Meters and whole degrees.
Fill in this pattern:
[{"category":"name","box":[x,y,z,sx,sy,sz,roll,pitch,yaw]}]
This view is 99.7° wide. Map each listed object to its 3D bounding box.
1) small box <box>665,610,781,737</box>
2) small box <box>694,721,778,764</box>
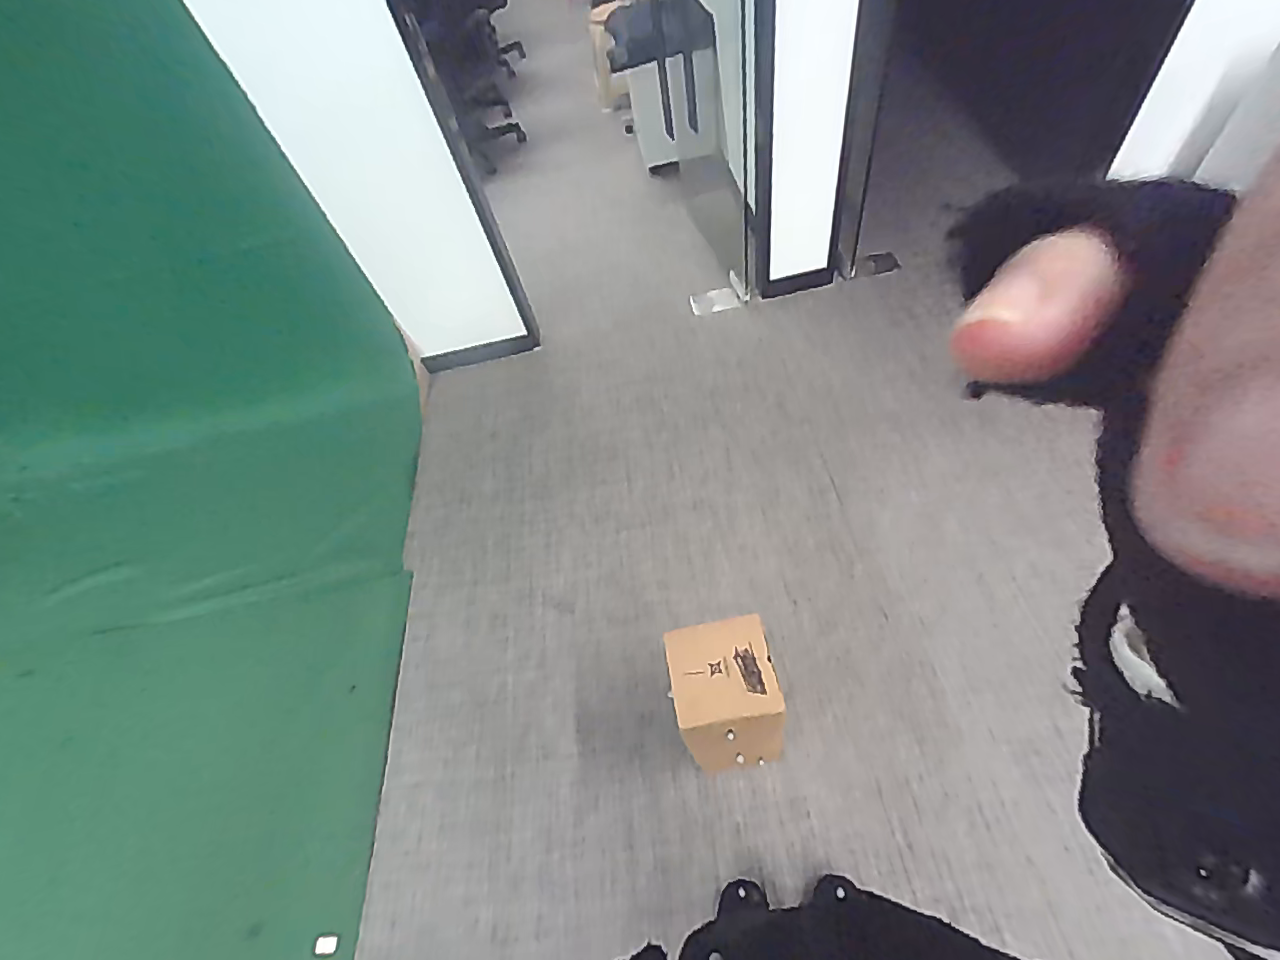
[{"category":"small box","box":[0.147,0.353,0.976,0.179,0.176,0.168,-9,52,6]},{"category":"small box","box":[0.209,0.541,1.241,0.179,0.176,0.168,-13,53,5]}]
